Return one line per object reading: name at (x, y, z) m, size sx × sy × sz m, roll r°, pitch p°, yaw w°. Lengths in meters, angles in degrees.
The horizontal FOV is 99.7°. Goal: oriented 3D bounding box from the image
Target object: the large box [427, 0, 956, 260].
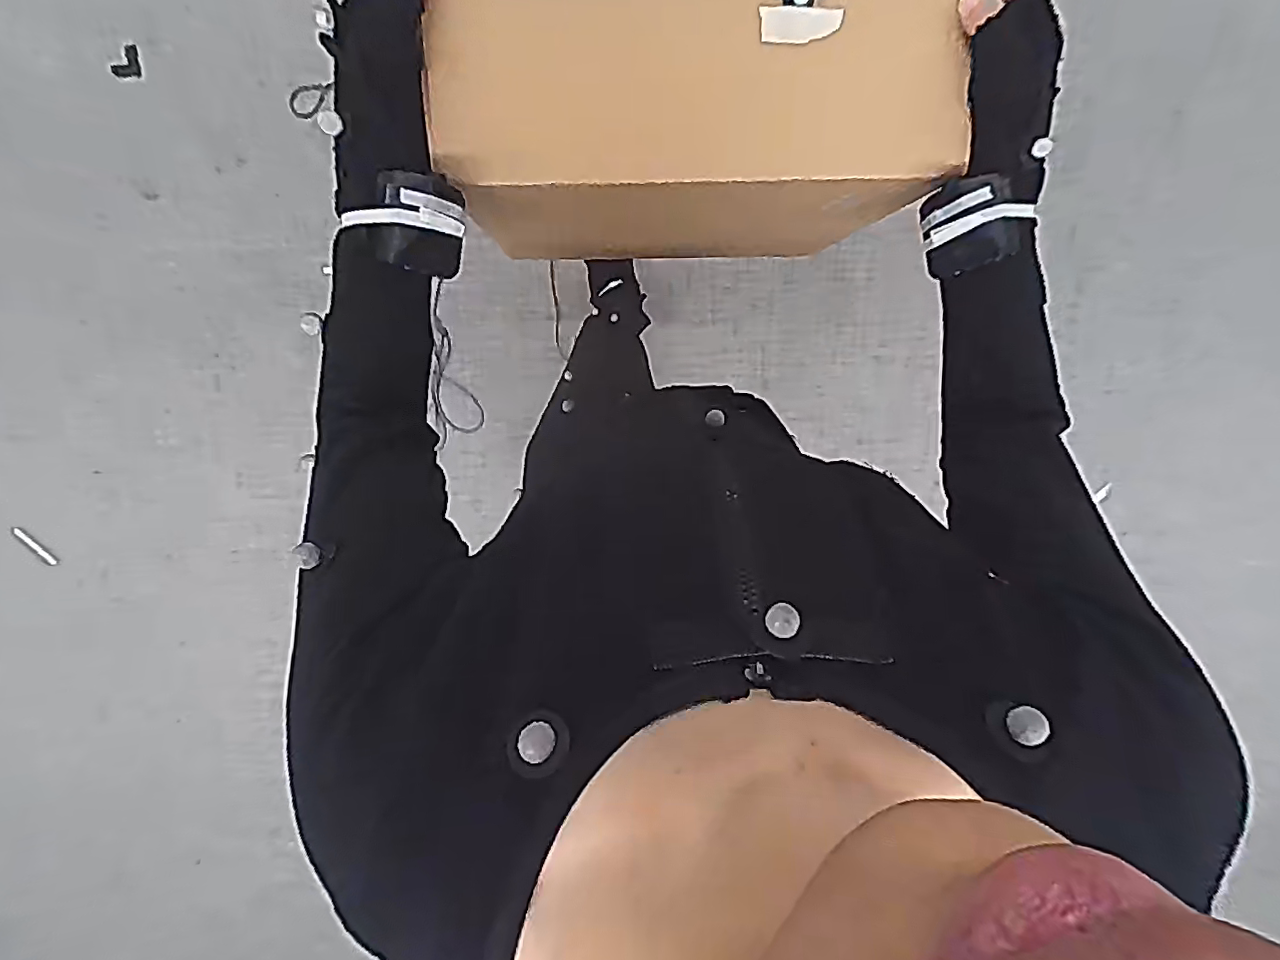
large box at (0.030, -0.417, 0.539) m, size 0.408 × 0.320 × 0.320 m, roll -3°, pitch 103°, yaw -3°
